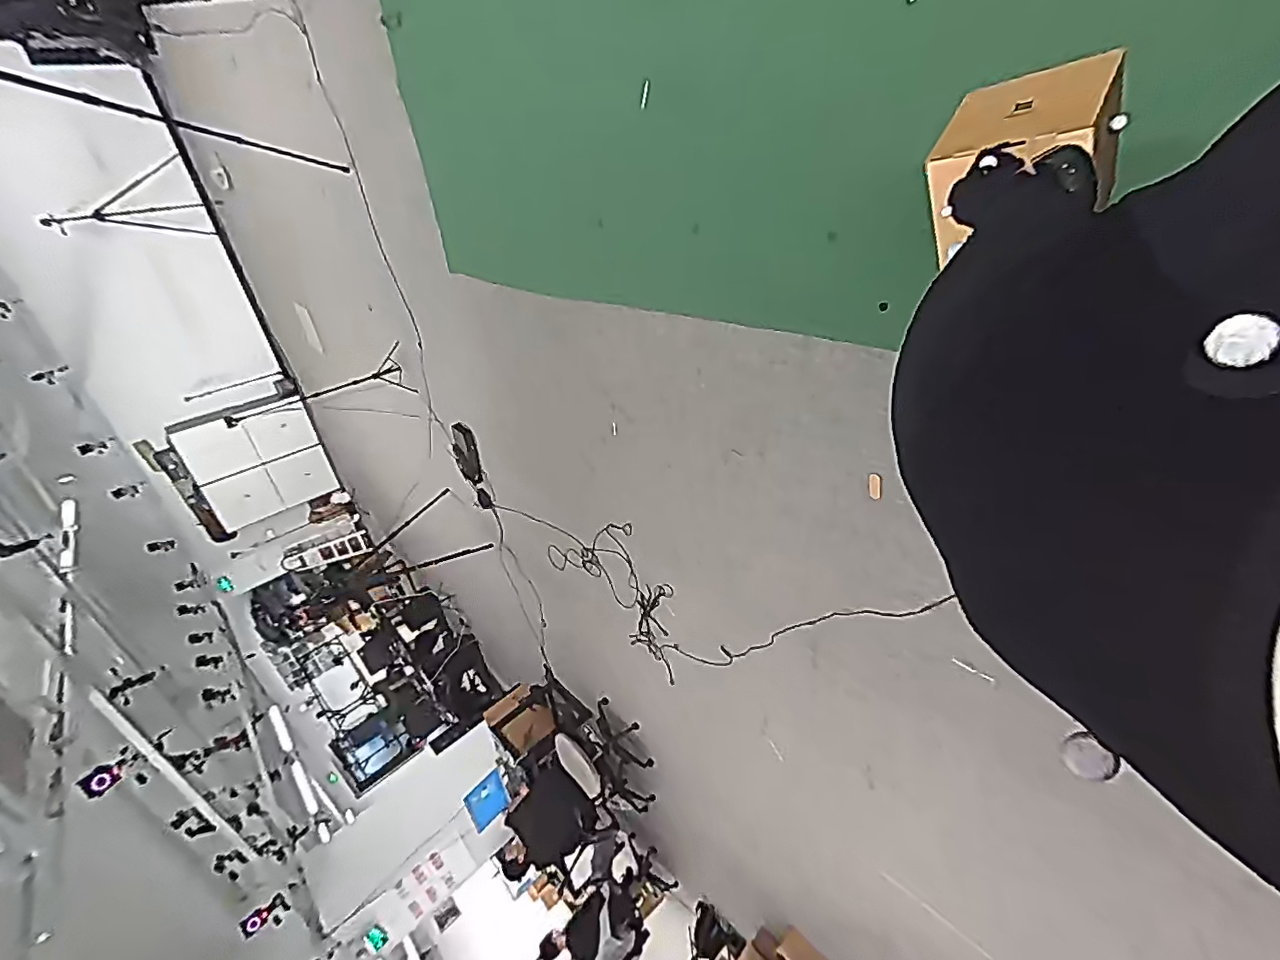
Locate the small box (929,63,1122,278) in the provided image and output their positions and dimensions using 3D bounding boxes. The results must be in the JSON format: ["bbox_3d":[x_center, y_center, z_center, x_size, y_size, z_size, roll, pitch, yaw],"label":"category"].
[{"bbox_3d":[0.505,-0.395,0.715,0.168,0.179,0.176,12,149,43],"label":"small box"}]
